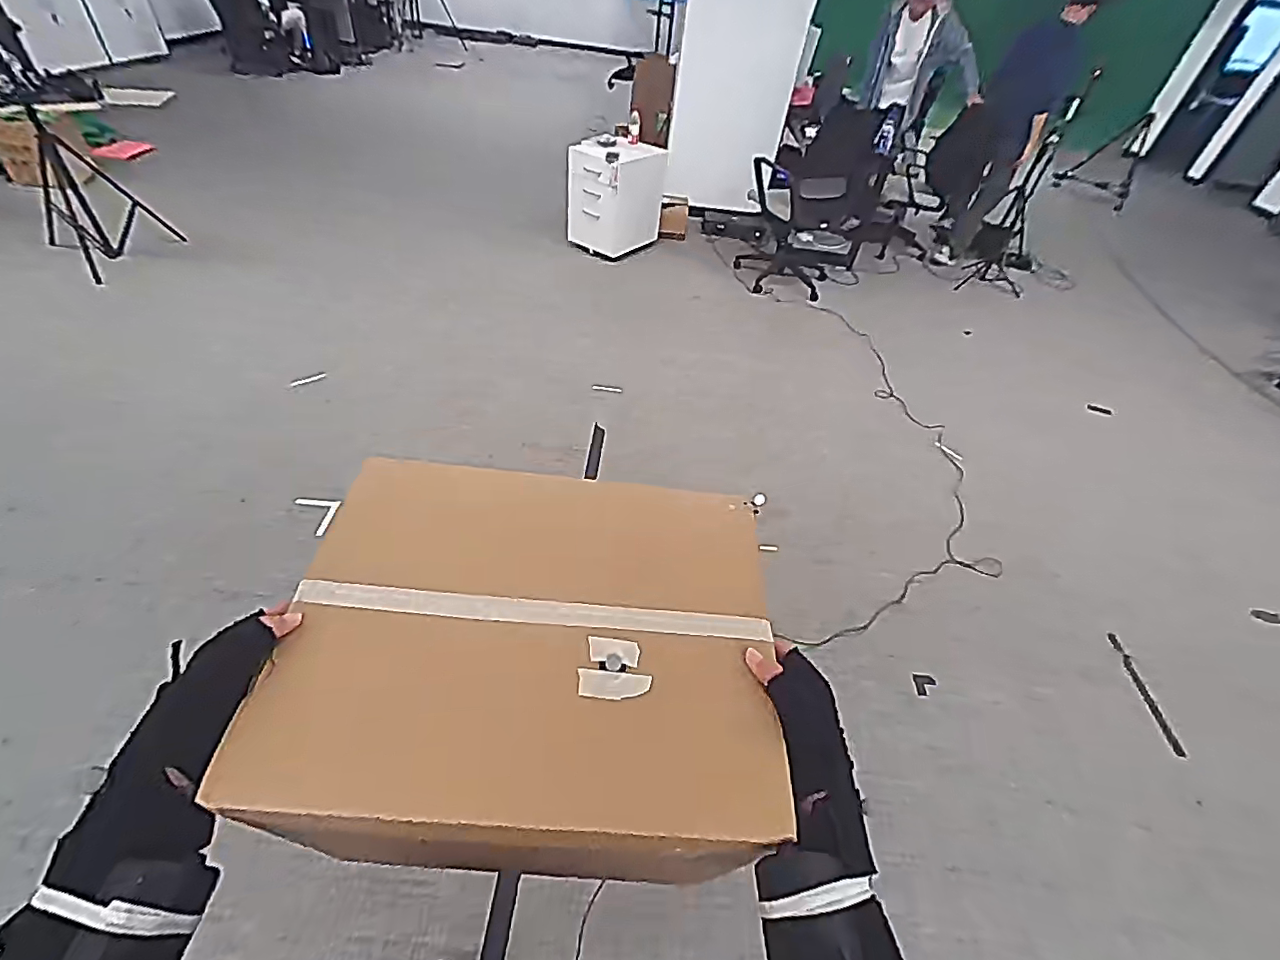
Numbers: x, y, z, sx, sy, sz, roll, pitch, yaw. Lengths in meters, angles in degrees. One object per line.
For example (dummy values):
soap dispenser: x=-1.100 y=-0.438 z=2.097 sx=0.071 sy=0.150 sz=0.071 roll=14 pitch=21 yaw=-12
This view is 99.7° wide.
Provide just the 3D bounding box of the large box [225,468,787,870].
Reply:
large box: x=-0.103 y=0.216 z=0.588 sx=0.408 sy=0.320 sz=0.320 roll=6 pitch=50 yaw=-4
